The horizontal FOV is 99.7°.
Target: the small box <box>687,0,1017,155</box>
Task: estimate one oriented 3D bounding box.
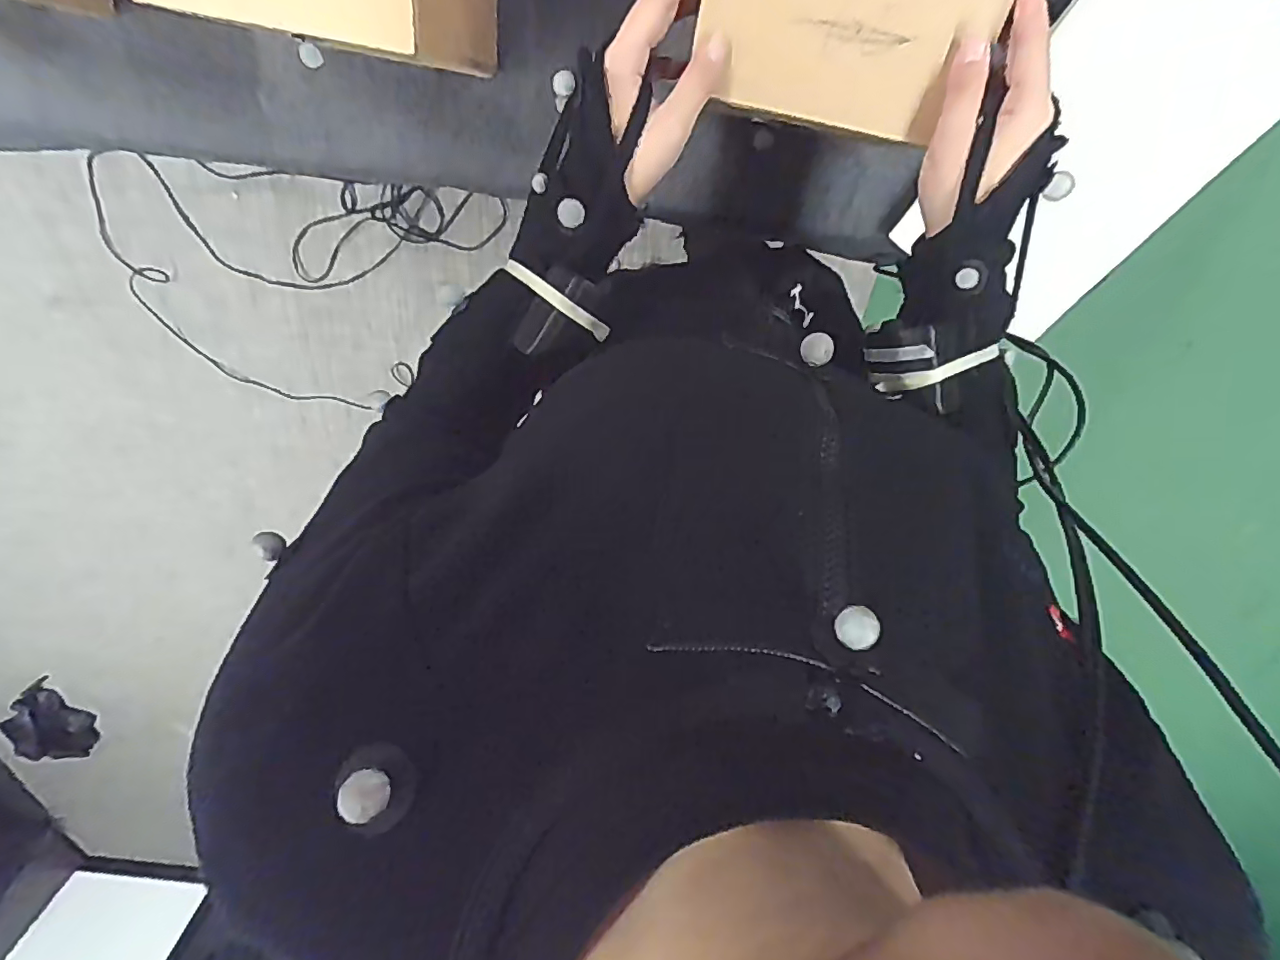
[{"bbox_3d":[0.125,-0.322,0.338,0.168,0.176,0.179,11,124,-2],"label":"small box"}]

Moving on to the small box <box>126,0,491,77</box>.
[{"bbox_3d":[-0.193,-0.368,0.328,0.168,0.176,0.179,9,122,-2],"label":"small box"}]
